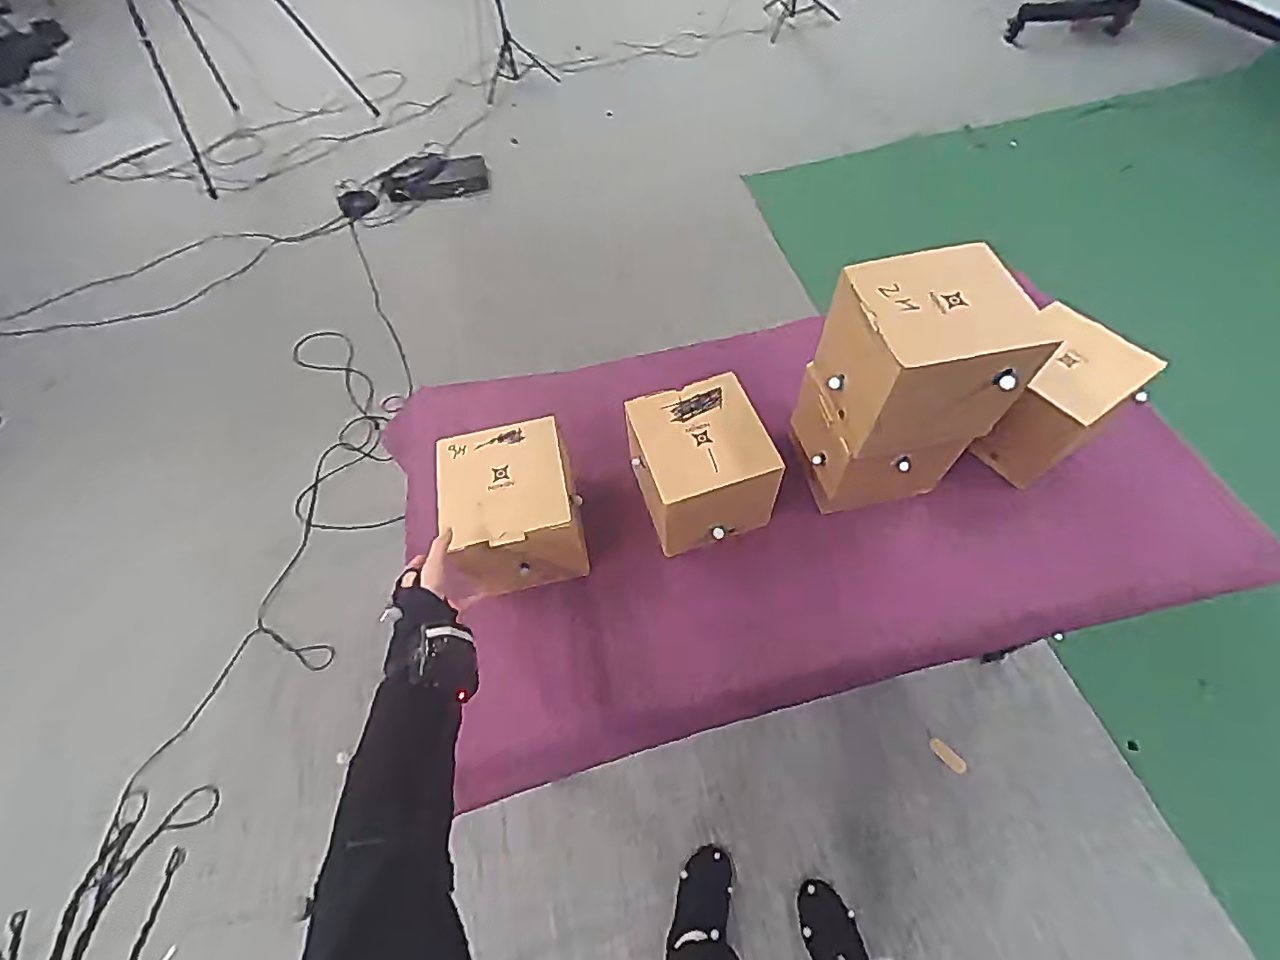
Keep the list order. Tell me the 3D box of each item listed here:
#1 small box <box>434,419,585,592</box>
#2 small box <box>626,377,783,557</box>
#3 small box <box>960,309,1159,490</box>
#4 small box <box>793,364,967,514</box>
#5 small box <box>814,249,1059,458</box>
[{"bbox_3d":[-0.178,0.045,0.762,0.168,0.176,0.179,-12,59,-4],"label":"small box"},{"bbox_3d":[0.083,-0.015,0.782,0.168,0.176,0.179,-17,59,-6],"label":"small box"},{"bbox_3d":[0.591,-0.115,0.811,0.179,0.176,0.168,-31,61,-15],"label":"small box"},{"bbox_3d":[0.337,-0.065,0.798,0.179,0.176,0.168,-10,58,-2],"label":"small box"},{"bbox_3d":[0.335,-0.146,0.654,0.179,0.176,0.168,-10,58,-2],"label":"small box"}]
